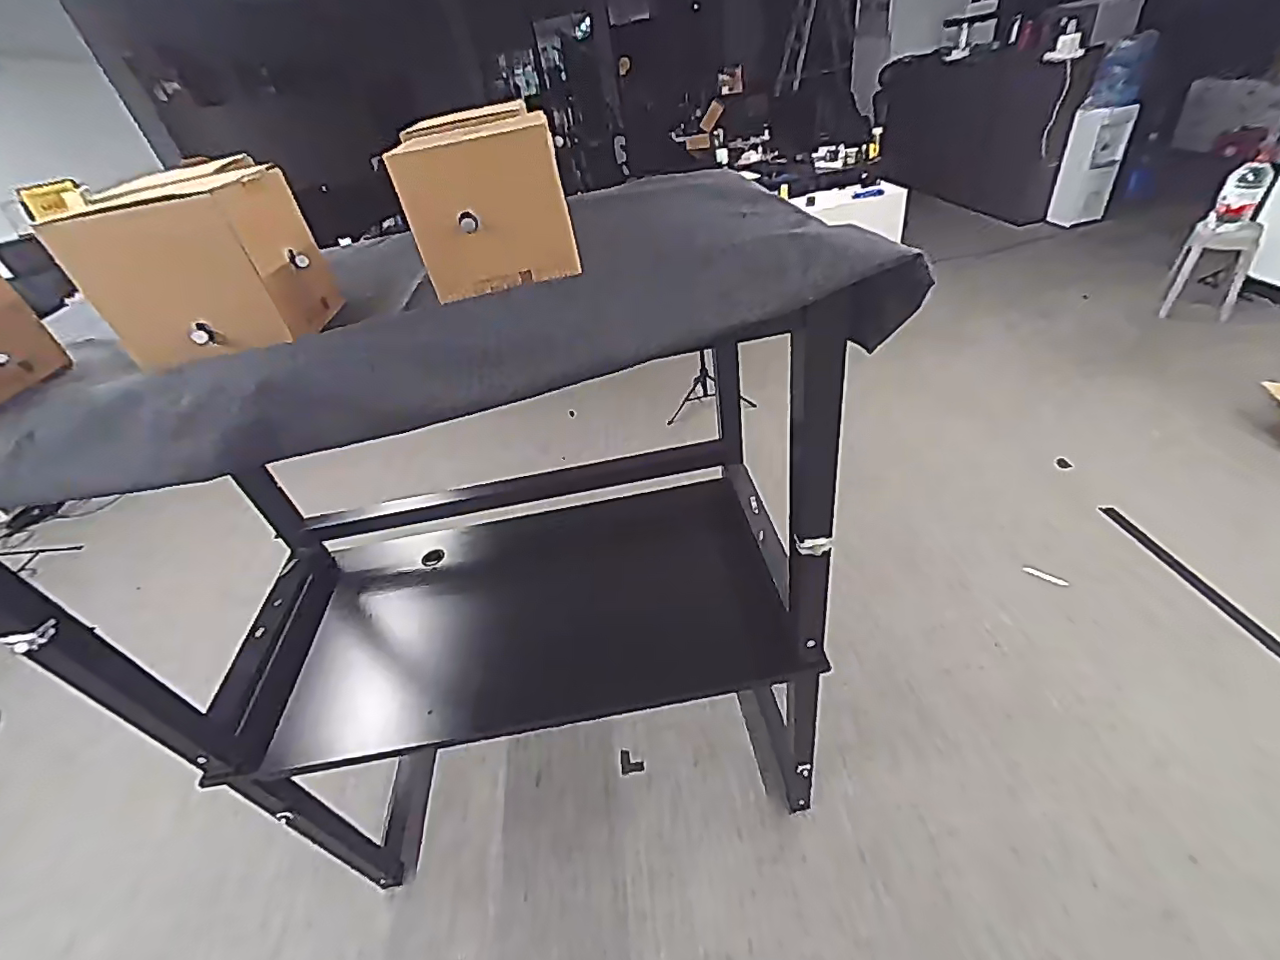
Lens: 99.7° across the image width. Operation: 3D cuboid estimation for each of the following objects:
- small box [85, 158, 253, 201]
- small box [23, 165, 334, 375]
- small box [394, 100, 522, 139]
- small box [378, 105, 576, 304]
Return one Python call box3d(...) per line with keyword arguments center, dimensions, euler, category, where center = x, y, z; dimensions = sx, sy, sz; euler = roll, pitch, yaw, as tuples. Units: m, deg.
box3d(center=(-0.676, -0.385, 0.847), dimensions=(0.168, 0.176, 0.179), euler=(-17, 38, -5), category="small box")
box3d(center=(-0.489, -0.239, 0.615), dimensions=(0.179, 0.176, 0.168), euler=(-11, 37, -1), category="small box")
box3d(center=(-0.255, -0.487, 0.865), dimensions=(0.179, 0.176, 0.168), euler=(-12, 39, 0), category="small box")
box3d(center=(-0.176, -0.323, 0.641), dimensions=(0.168, 0.176, 0.179), euler=(-13, 37, -2), category="small box")
